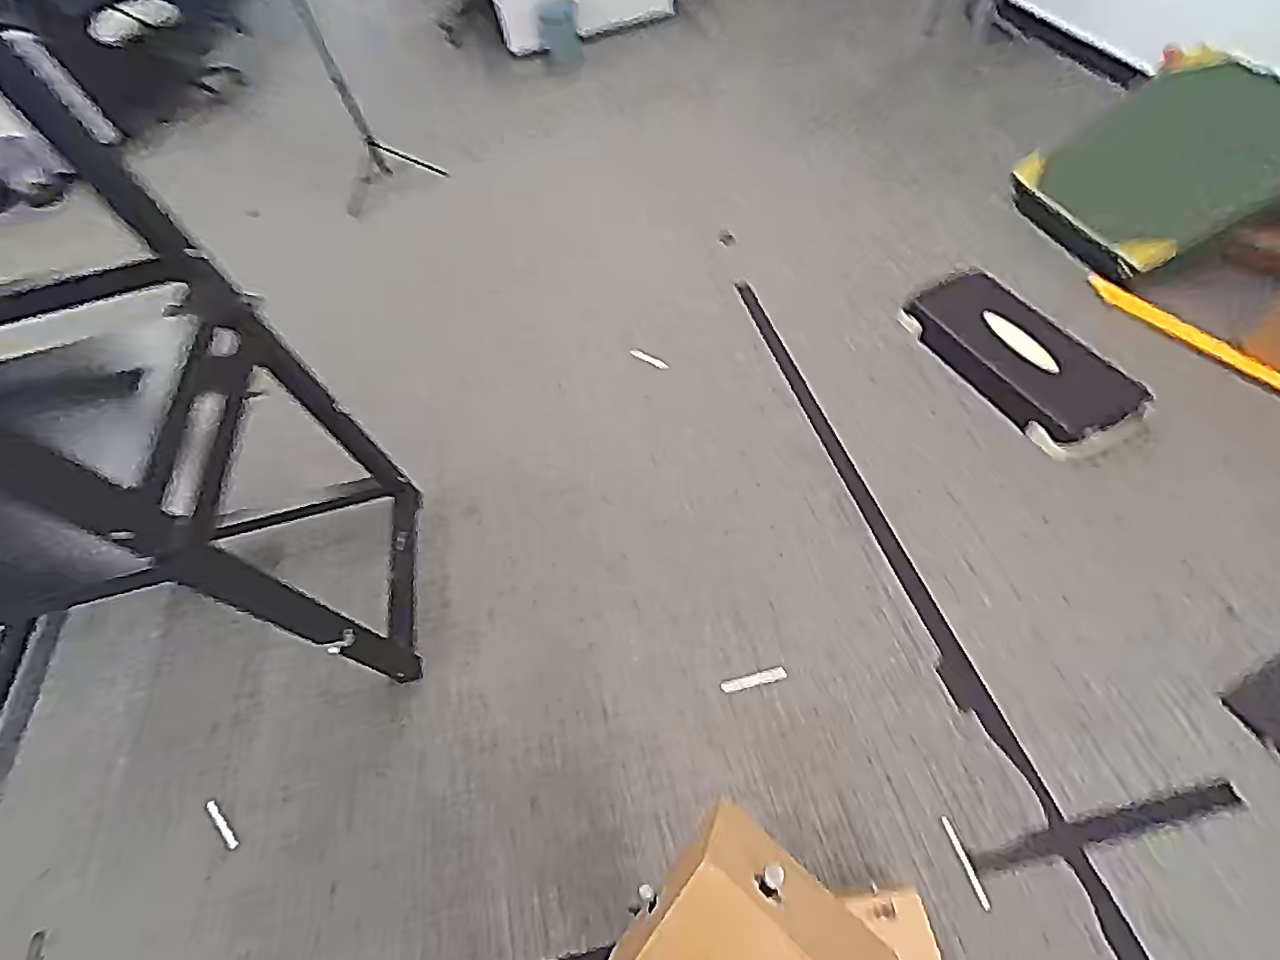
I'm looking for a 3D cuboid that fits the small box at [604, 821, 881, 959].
[{"bbox_3d":[0.065,0.372,0.369,0.179,0.176,0.168,36,83,20],"label":"small box"}]

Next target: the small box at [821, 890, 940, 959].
[{"bbox_3d":[0.398,0.812,0.901,0.168,0.176,0.179,-10,57,2],"label":"small box"}]
